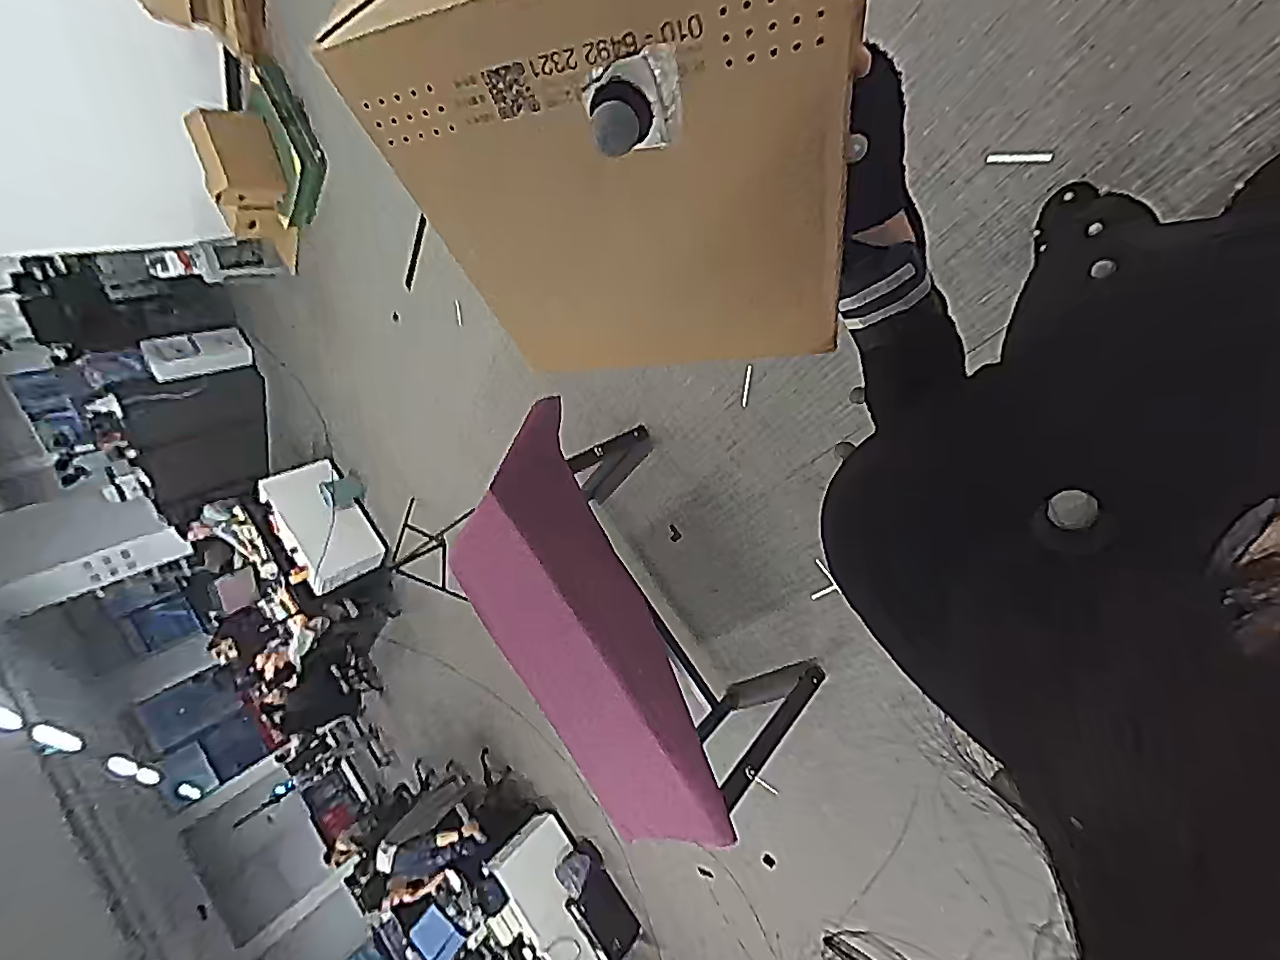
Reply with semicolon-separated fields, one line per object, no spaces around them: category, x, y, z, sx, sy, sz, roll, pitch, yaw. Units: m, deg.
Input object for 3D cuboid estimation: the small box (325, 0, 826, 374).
small box;0.000;-0.177;0.258;0.168;0.179;0.176;-1;152;20
